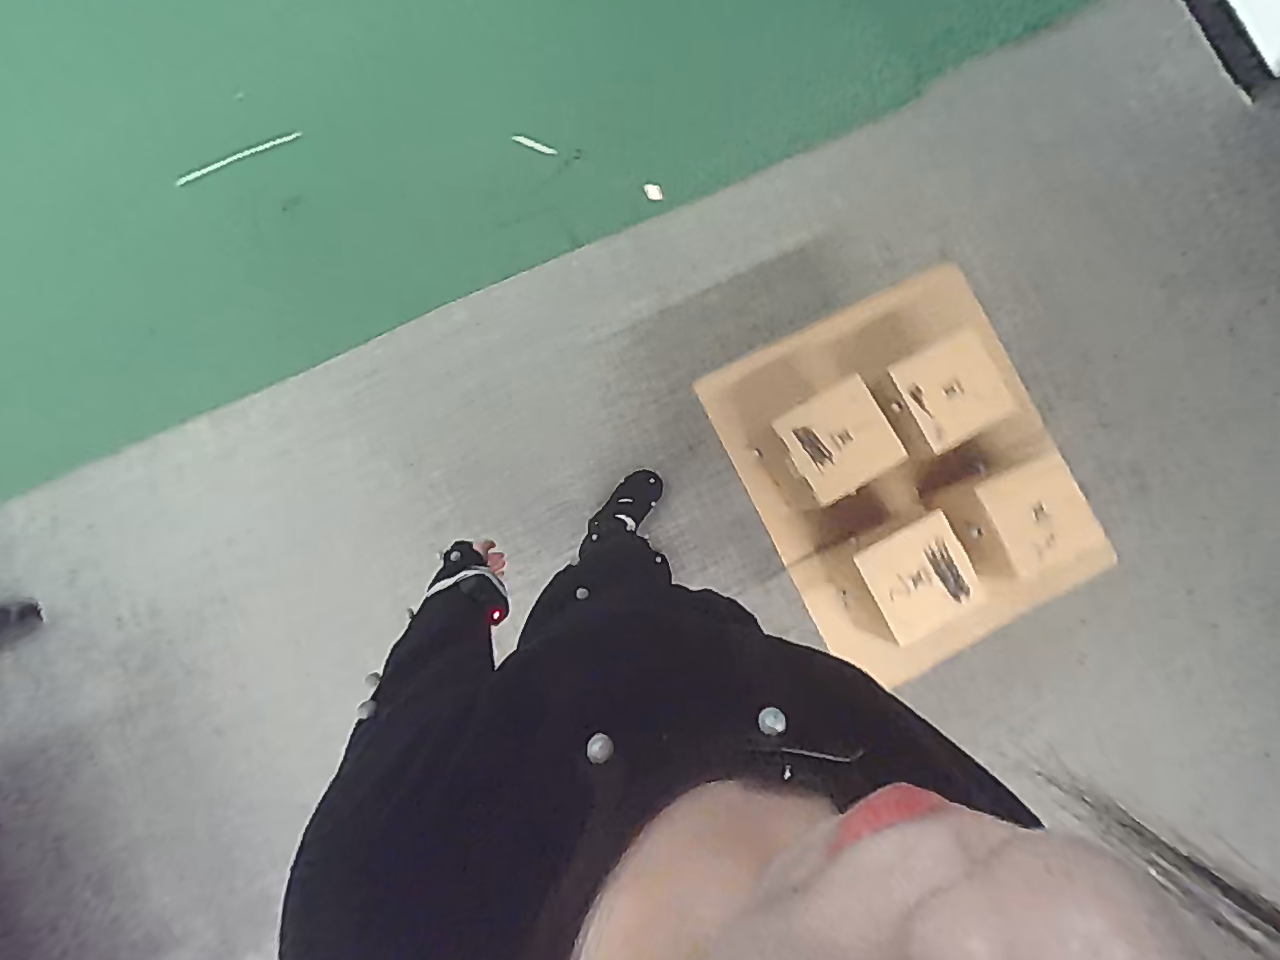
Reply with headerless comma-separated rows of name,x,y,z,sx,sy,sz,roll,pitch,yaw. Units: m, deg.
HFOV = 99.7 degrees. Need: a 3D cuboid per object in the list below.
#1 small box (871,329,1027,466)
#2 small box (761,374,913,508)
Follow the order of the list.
small box,0.536,-0.142,0.985,0.179,0.176,0.168,-27,85,-5
small box,0.336,-0.059,0.972,0.179,0.176,0.168,-30,86,-5
